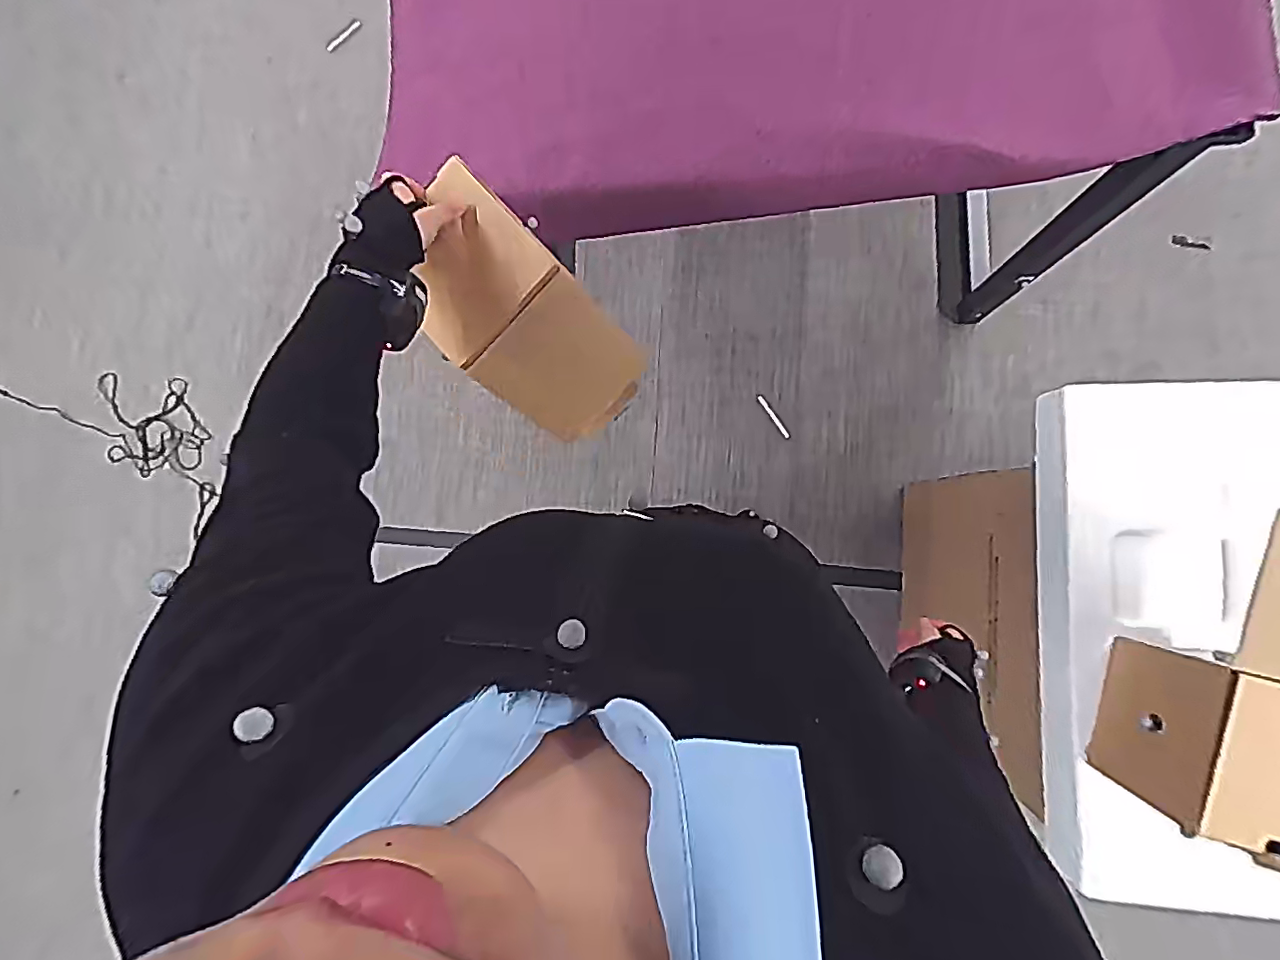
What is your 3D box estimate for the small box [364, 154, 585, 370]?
[{"bbox_3d":[-0.194,-0.256,0.689,0.179,0.176,0.168,44,99,0],"label":"small box"}]
